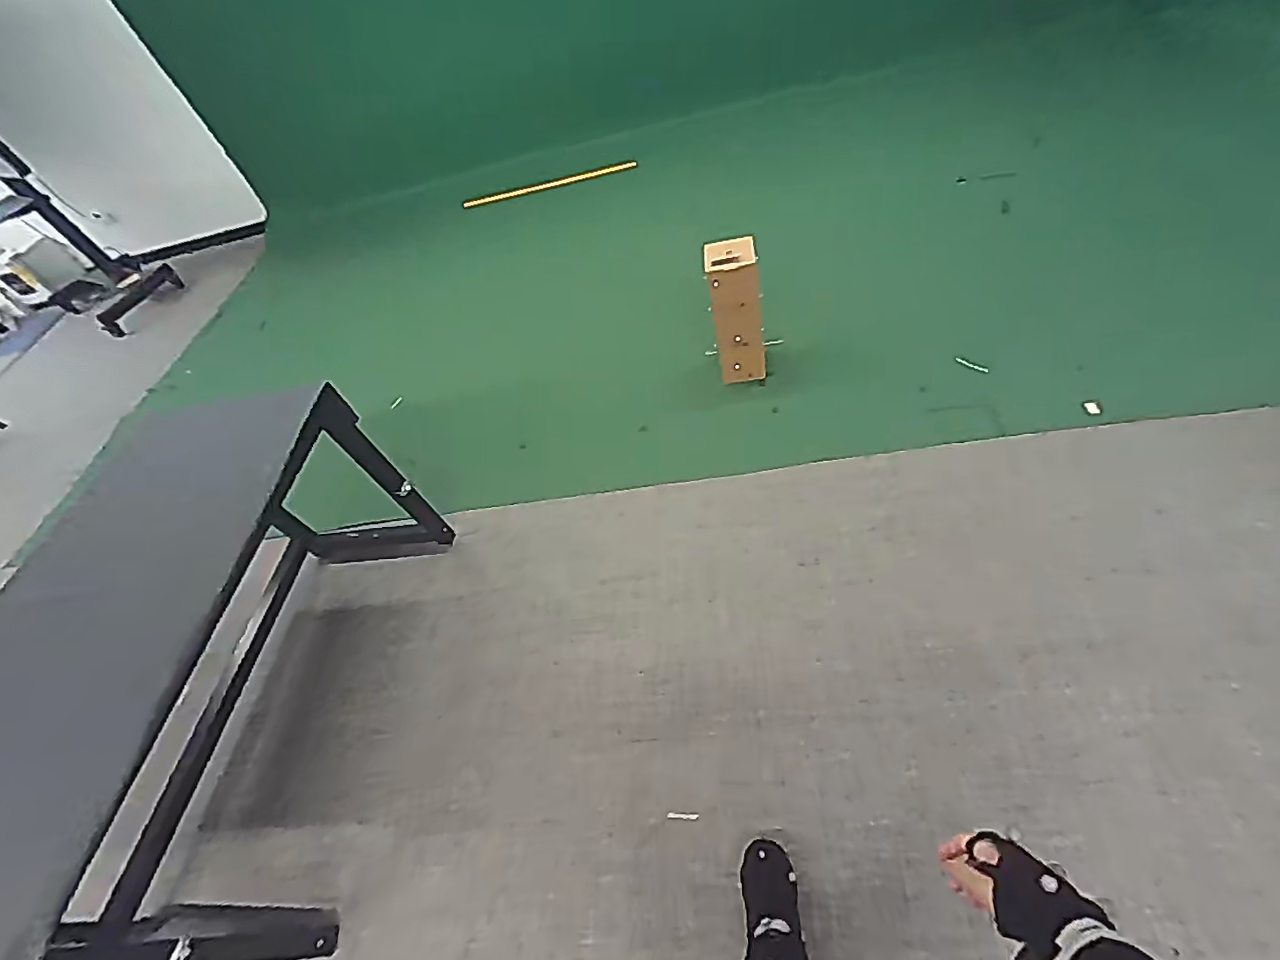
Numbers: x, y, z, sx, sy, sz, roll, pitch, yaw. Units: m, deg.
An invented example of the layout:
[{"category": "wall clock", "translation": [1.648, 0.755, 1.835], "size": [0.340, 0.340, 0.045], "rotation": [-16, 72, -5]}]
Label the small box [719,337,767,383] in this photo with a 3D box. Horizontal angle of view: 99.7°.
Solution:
[{"category": "small box", "translation": [0.396, -0.496, 2.103], "size": [0.168, 0.176, 0.179], "rotation": [-9, 50, 12]}]

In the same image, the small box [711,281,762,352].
[{"category": "small box", "translation": [0.352, -0.595, 1.979], "size": [0.168, 0.176, 0.179], "rotation": [-7, 51, 14]}]
